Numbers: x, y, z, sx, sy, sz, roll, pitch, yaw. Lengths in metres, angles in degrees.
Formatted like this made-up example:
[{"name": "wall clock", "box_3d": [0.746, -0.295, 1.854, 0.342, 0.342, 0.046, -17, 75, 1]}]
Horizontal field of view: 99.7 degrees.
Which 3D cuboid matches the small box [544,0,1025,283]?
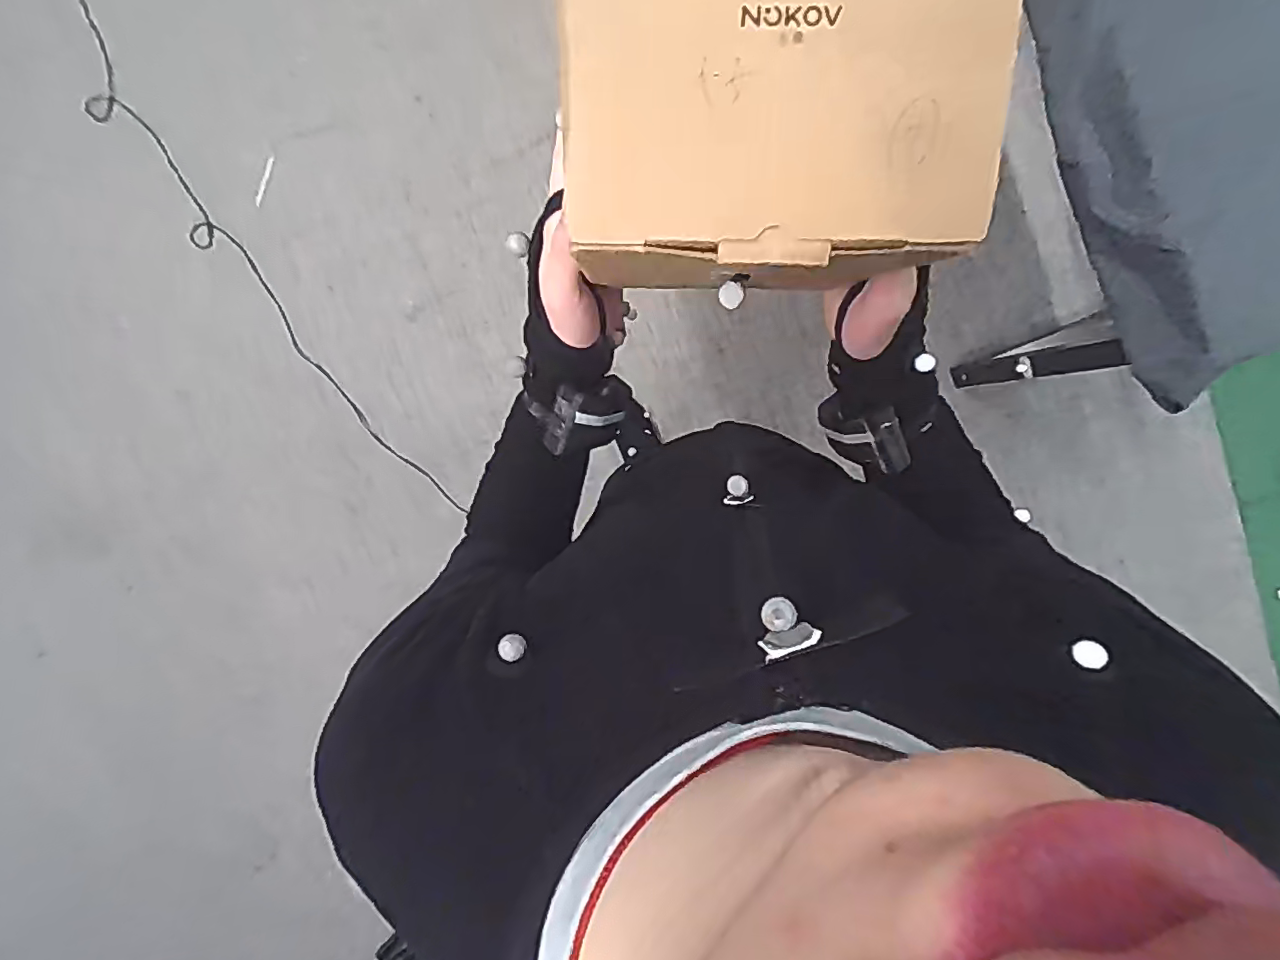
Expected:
[{"name": "small box", "box_3d": [0.047, -0.190, 0.259, 0.168, 0.176, 0.179, 0, 107, -2]}]
